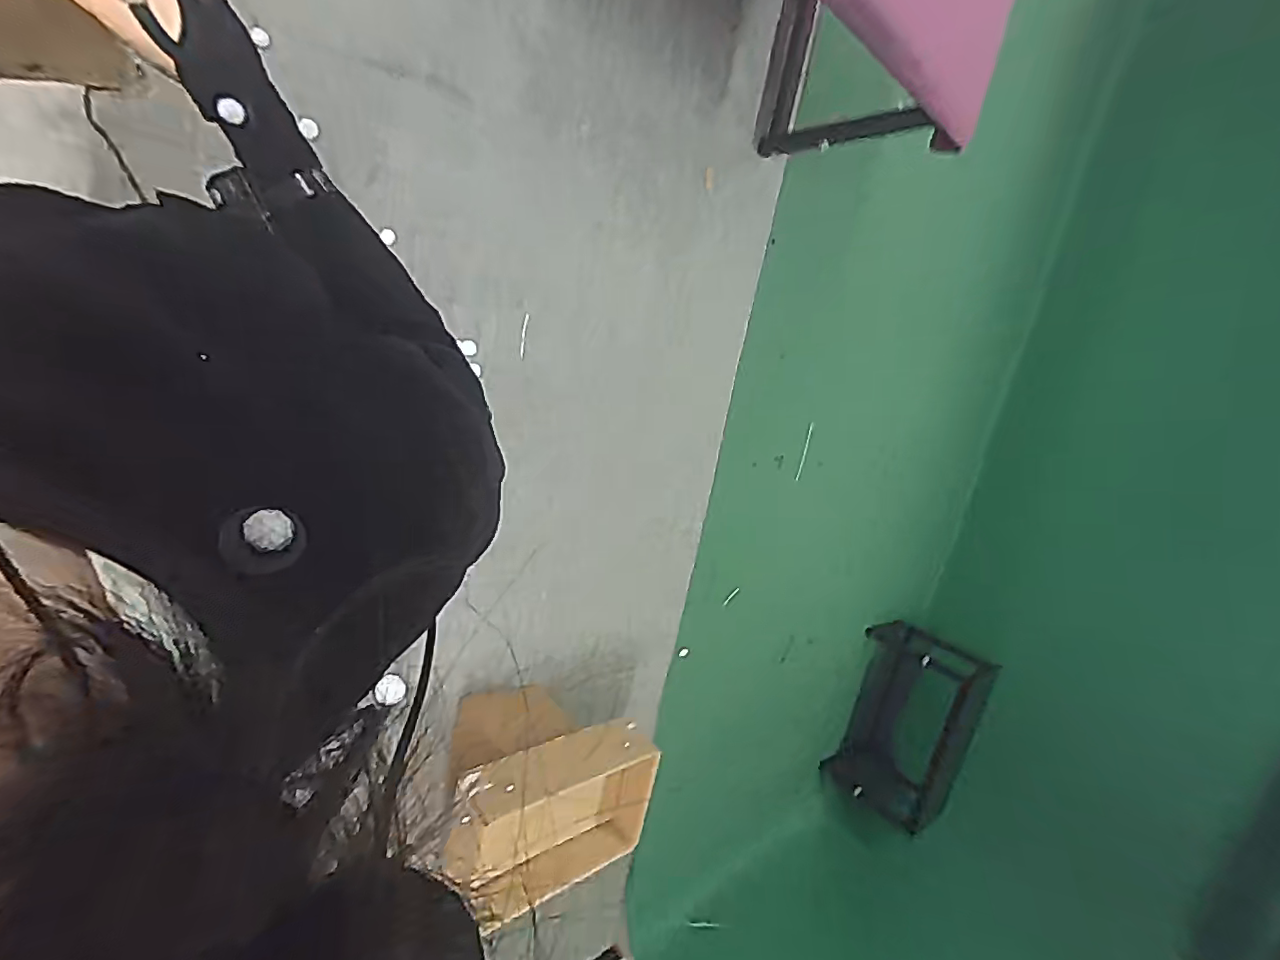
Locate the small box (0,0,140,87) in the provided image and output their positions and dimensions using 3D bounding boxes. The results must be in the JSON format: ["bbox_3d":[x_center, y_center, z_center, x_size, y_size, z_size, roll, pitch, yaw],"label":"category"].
[{"bbox_3d":[-0.465,-0.387,0.350,0.168,0.176,0.179,-22,113,-34],"label":"small box"}]
